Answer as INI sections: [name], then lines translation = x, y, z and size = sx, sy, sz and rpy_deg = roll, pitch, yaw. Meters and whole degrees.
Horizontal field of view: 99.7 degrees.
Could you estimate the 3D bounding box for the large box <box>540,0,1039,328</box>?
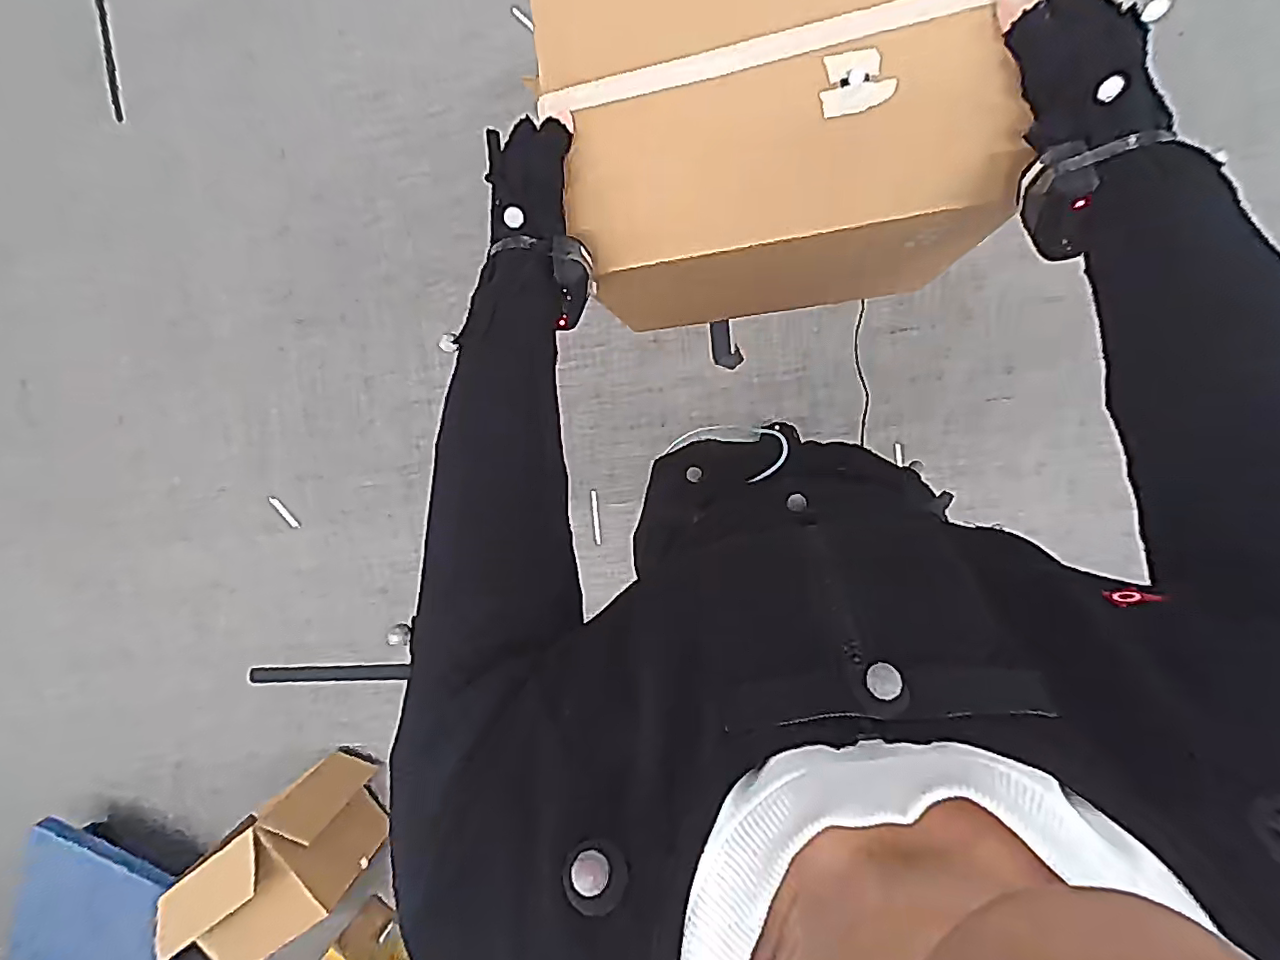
[large box]
translation = 0.138, -0.386, 0.614
size = 0.408, 0.320, 0.320
rpy_deg = -6, 95, 11
